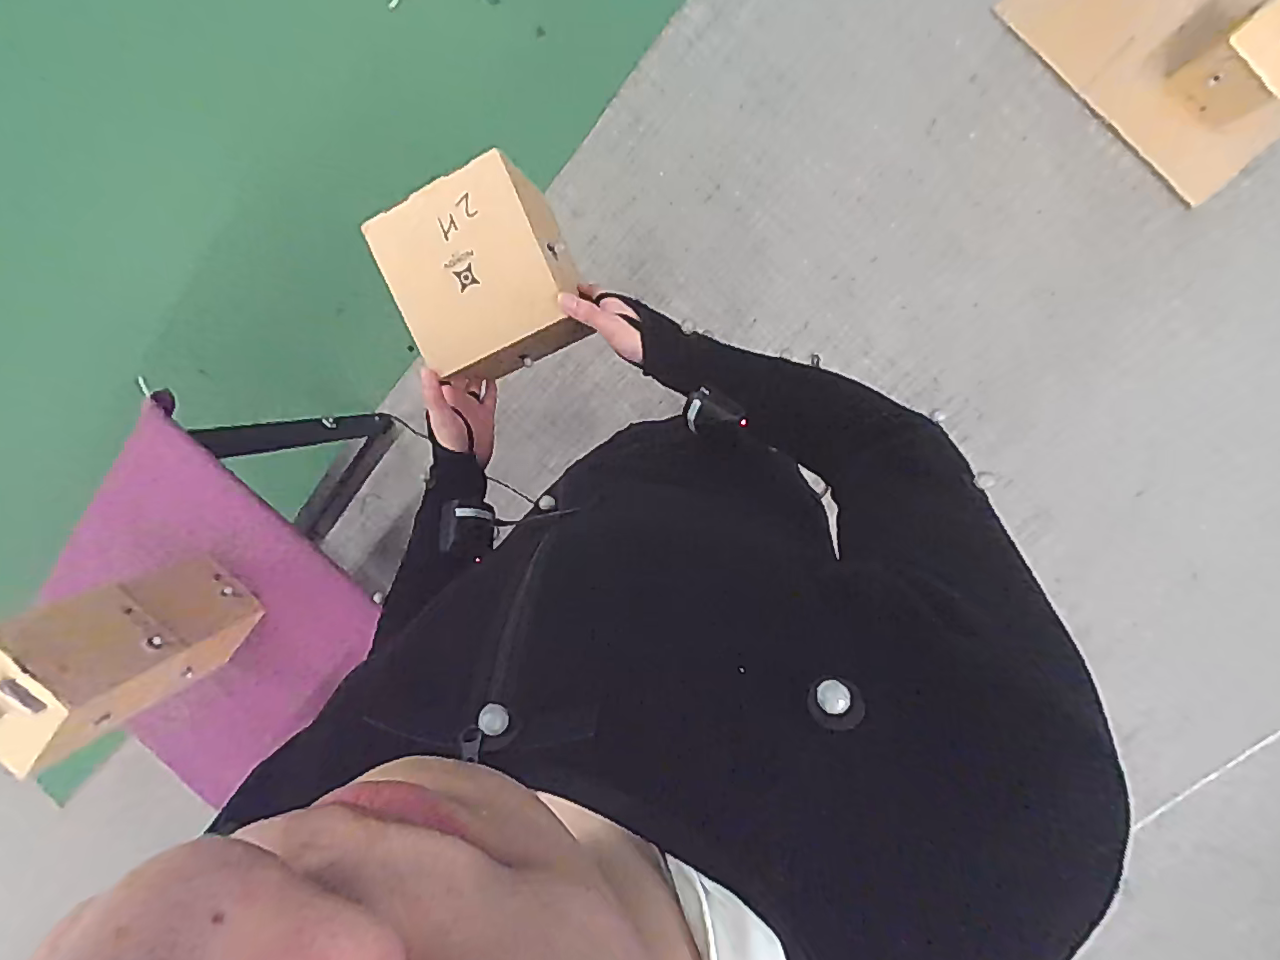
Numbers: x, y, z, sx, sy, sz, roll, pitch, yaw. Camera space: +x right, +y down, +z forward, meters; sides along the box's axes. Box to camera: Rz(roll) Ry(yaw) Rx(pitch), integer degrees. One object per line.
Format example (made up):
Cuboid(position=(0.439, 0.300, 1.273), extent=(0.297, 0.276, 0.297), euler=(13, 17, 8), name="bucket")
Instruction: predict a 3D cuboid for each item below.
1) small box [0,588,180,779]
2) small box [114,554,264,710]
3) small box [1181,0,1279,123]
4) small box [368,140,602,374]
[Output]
Cuboid(position=(-0.864, 0.297, 0.825), extent=(0.168, 0.176, 0.179), euler=(43, 106, -2), name="small box")
Cuboid(position=(-0.841, 0.267, 0.984), extent=(0.168, 0.176, 0.179), euler=(44, 104, -2), name="small box")
Cuboid(position=(1.325, -0.916, 1.149), extent=(0.179, 0.176, 0.168), euler=(-43, 91, 13), name="small box")
Cuboid(position=(-0.158, -0.233, 0.616), extent=(0.168, 0.176, 0.179), euler=(-21, 97, 11), name="small box")
